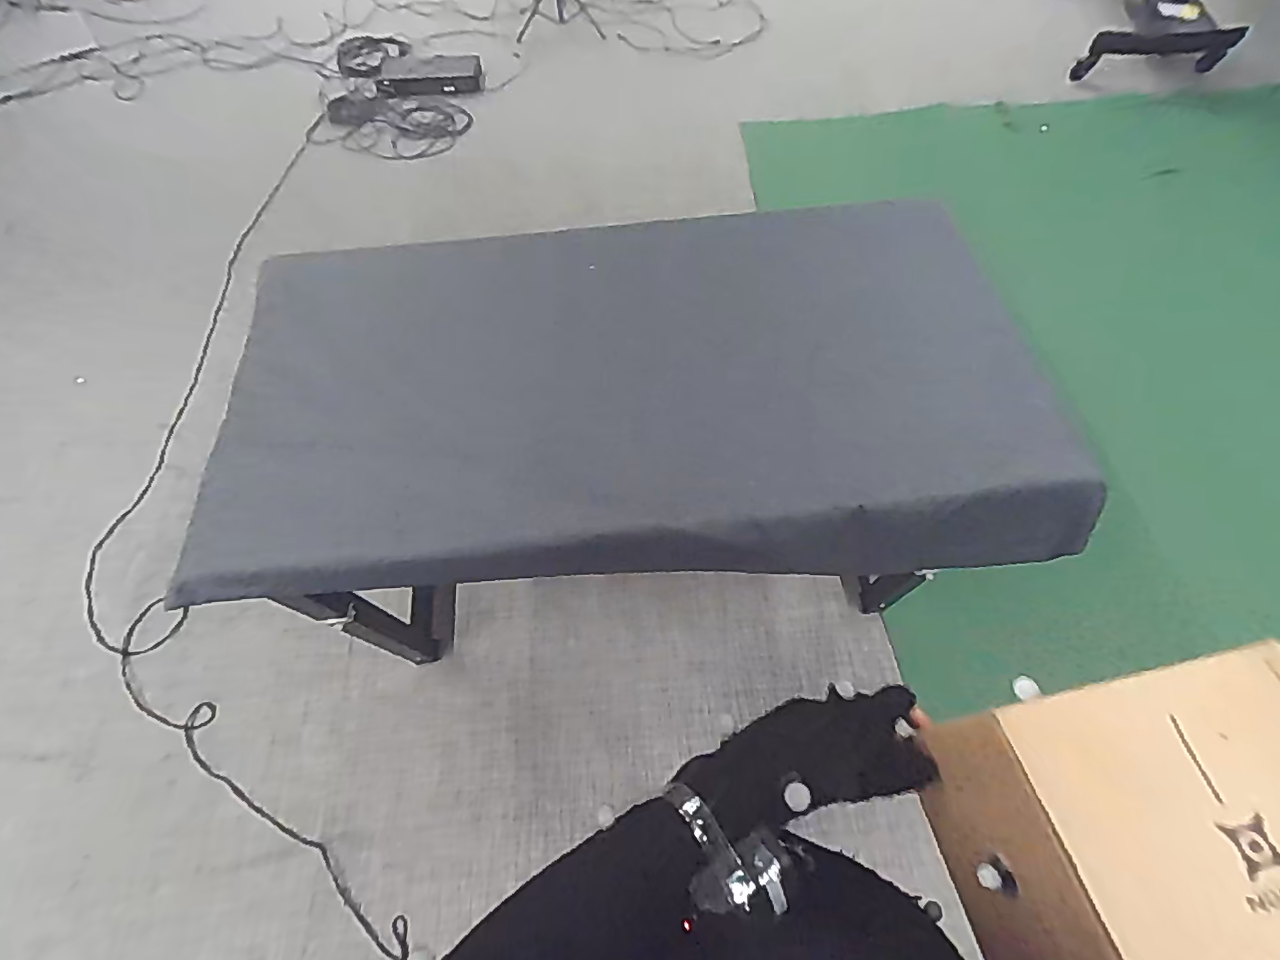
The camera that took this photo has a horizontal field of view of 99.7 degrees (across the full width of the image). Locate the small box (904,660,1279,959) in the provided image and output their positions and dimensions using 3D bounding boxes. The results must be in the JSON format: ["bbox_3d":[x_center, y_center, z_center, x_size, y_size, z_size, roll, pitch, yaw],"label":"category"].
[{"bbox_3d":[0.292,0.227,0.322,0.168,0.176,0.179,-11,58,-1],"label":"small box"}]
